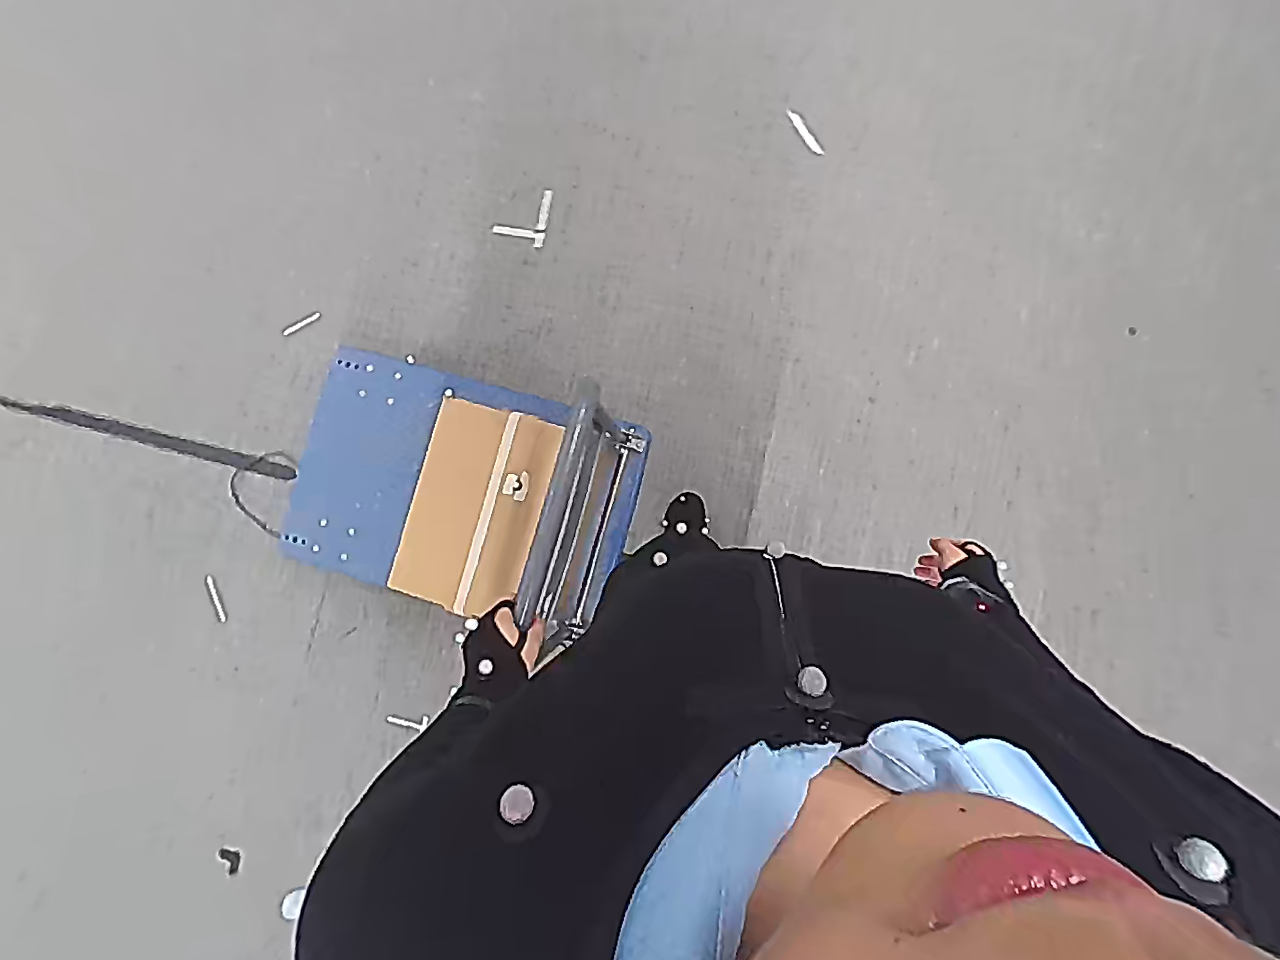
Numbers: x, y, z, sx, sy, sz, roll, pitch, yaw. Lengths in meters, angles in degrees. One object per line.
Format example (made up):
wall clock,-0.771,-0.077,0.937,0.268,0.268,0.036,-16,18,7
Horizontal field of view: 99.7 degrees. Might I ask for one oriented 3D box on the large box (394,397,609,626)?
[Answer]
large box,-0.287,0.072,1.227,0.320,0.320,0.408,16,87,5
